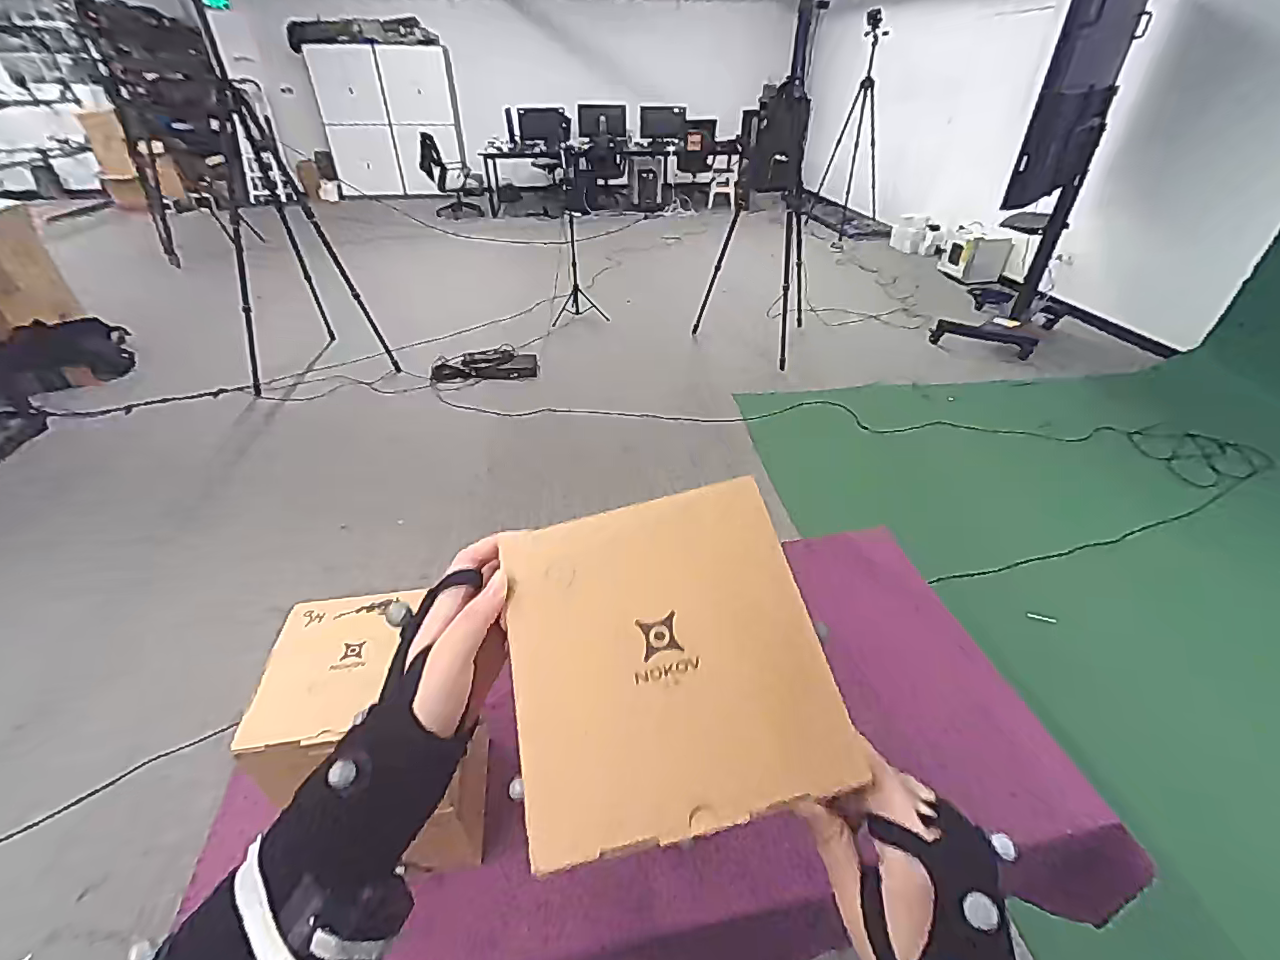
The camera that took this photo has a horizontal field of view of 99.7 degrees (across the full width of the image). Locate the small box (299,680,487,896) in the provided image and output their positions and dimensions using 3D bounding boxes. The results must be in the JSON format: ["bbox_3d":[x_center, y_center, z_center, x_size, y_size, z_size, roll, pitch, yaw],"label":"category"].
[{"bbox_3d":[-0.296,0.391,0.696,0.168,0.176,0.179,-6,36,-7],"label":"small box"}]

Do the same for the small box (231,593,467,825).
[{"bbox_3d":[-0.297,0.255,0.602,0.168,0.176,0.179,-5,37,-8],"label":"small box"}]
